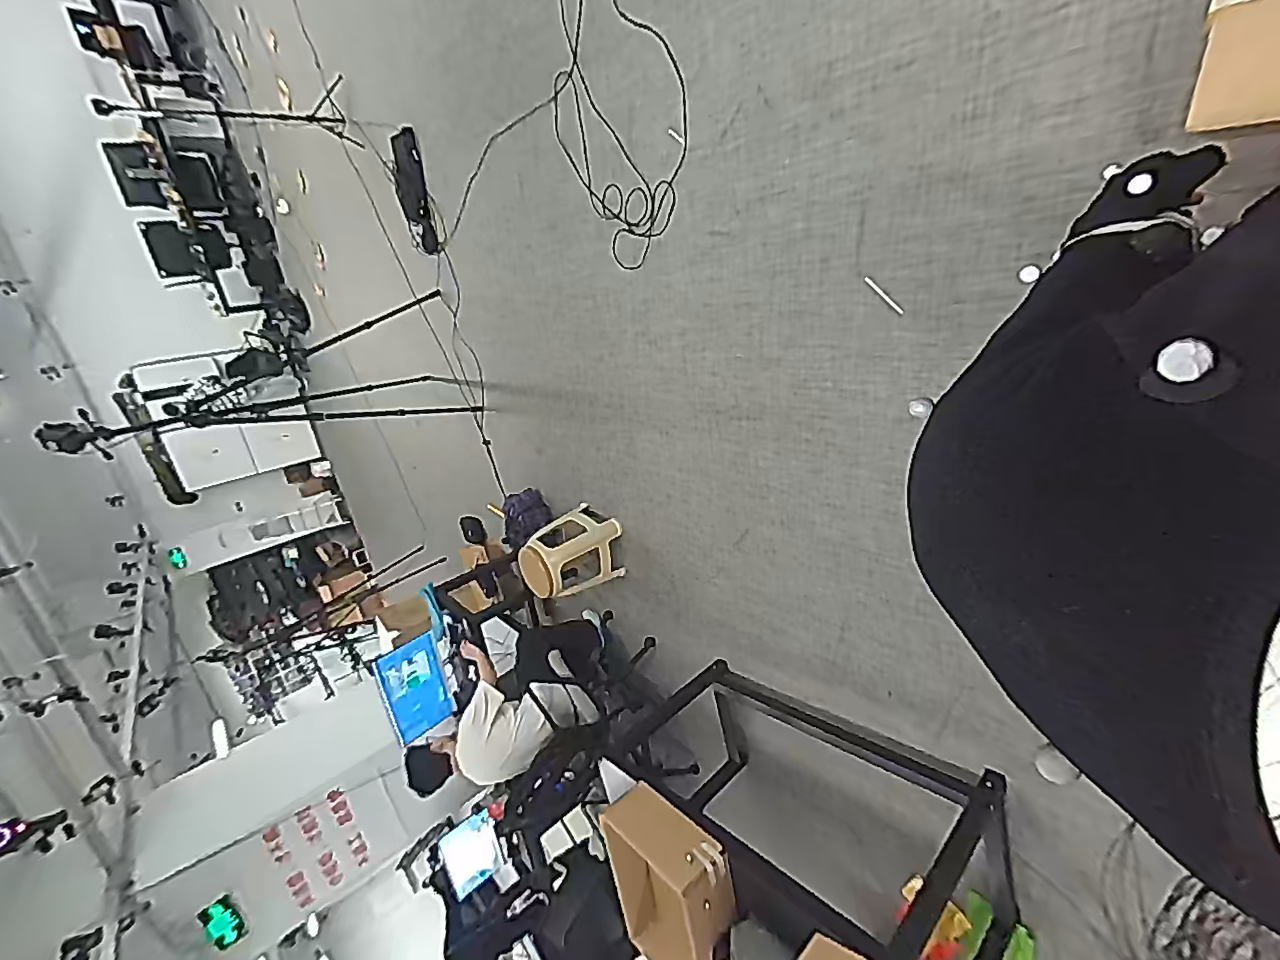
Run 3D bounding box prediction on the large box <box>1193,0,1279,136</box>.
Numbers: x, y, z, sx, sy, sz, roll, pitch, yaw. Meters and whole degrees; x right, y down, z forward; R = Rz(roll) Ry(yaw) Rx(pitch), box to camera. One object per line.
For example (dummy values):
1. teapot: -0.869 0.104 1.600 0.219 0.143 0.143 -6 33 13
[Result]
1. large box: 1.019 -0.650 0.667 0.408 0.320 0.320 20 125 45
